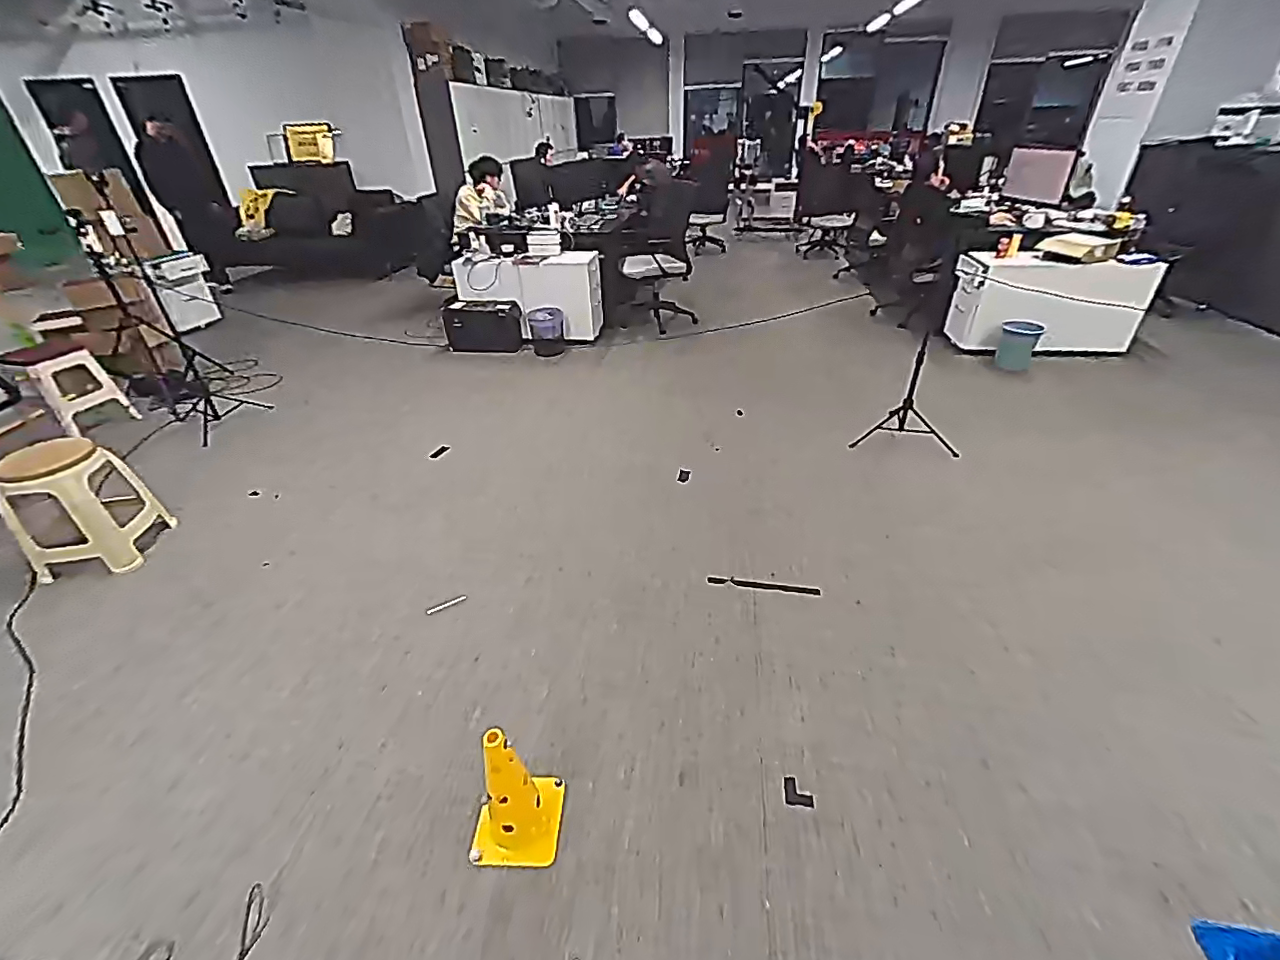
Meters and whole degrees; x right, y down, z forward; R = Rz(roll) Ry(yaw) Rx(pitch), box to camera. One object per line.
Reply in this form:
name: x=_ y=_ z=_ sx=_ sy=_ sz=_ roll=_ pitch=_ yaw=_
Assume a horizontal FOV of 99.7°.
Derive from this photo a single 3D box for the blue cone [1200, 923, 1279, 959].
blue cone: x=1.207 y=0.820 z=0.931 sx=0.193 sy=0.380 sz=0.192 roll=4 pitch=33 yaw=9
